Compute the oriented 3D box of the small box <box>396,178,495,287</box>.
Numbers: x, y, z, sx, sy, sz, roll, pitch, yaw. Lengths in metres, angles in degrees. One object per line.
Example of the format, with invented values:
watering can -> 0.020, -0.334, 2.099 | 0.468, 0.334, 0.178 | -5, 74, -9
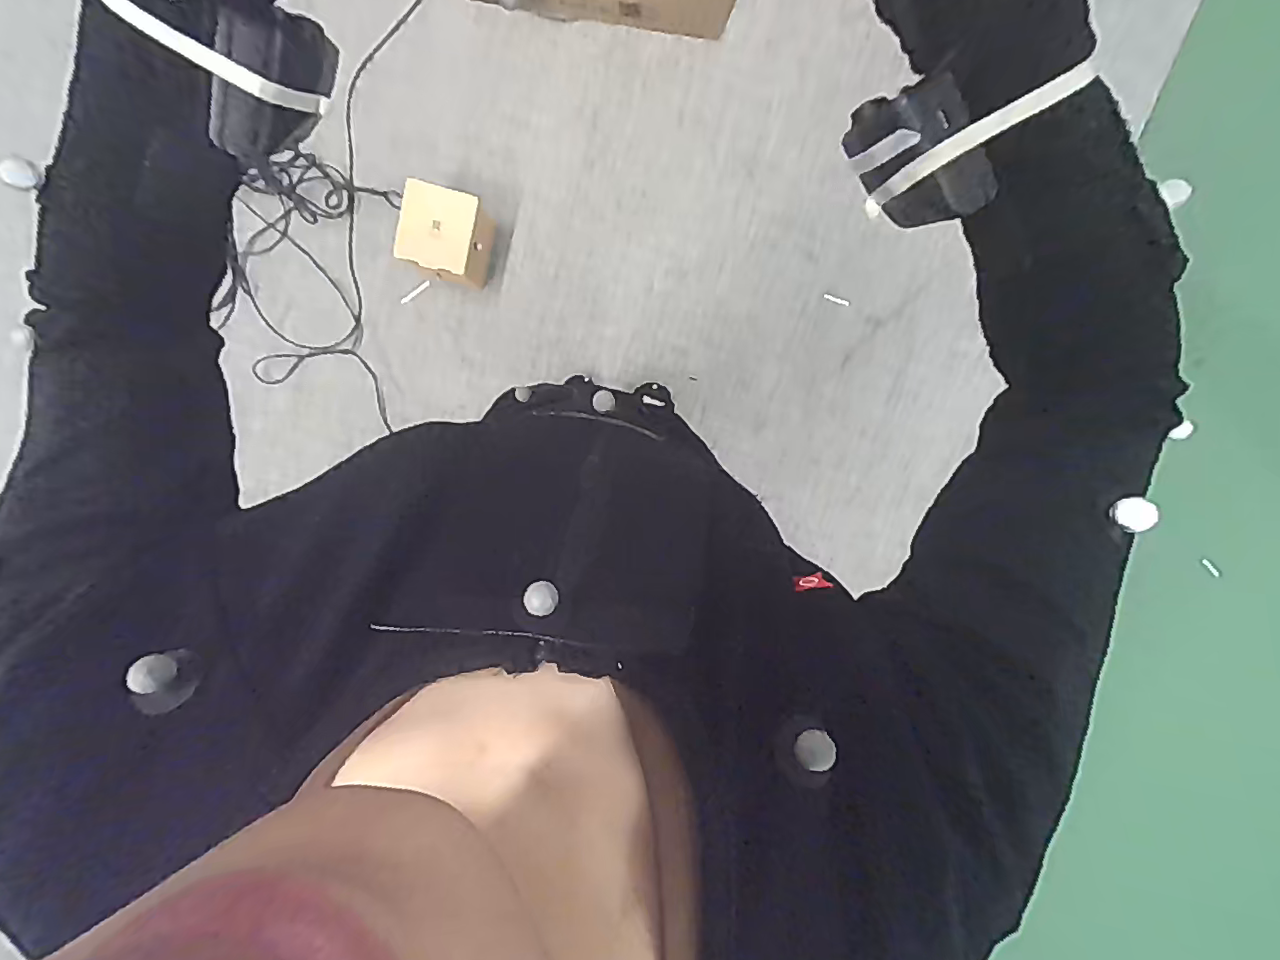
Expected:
small box -> -0.456, -0.583, 1.295 | 0.168, 0.176, 0.179 | 14, 100, -3
